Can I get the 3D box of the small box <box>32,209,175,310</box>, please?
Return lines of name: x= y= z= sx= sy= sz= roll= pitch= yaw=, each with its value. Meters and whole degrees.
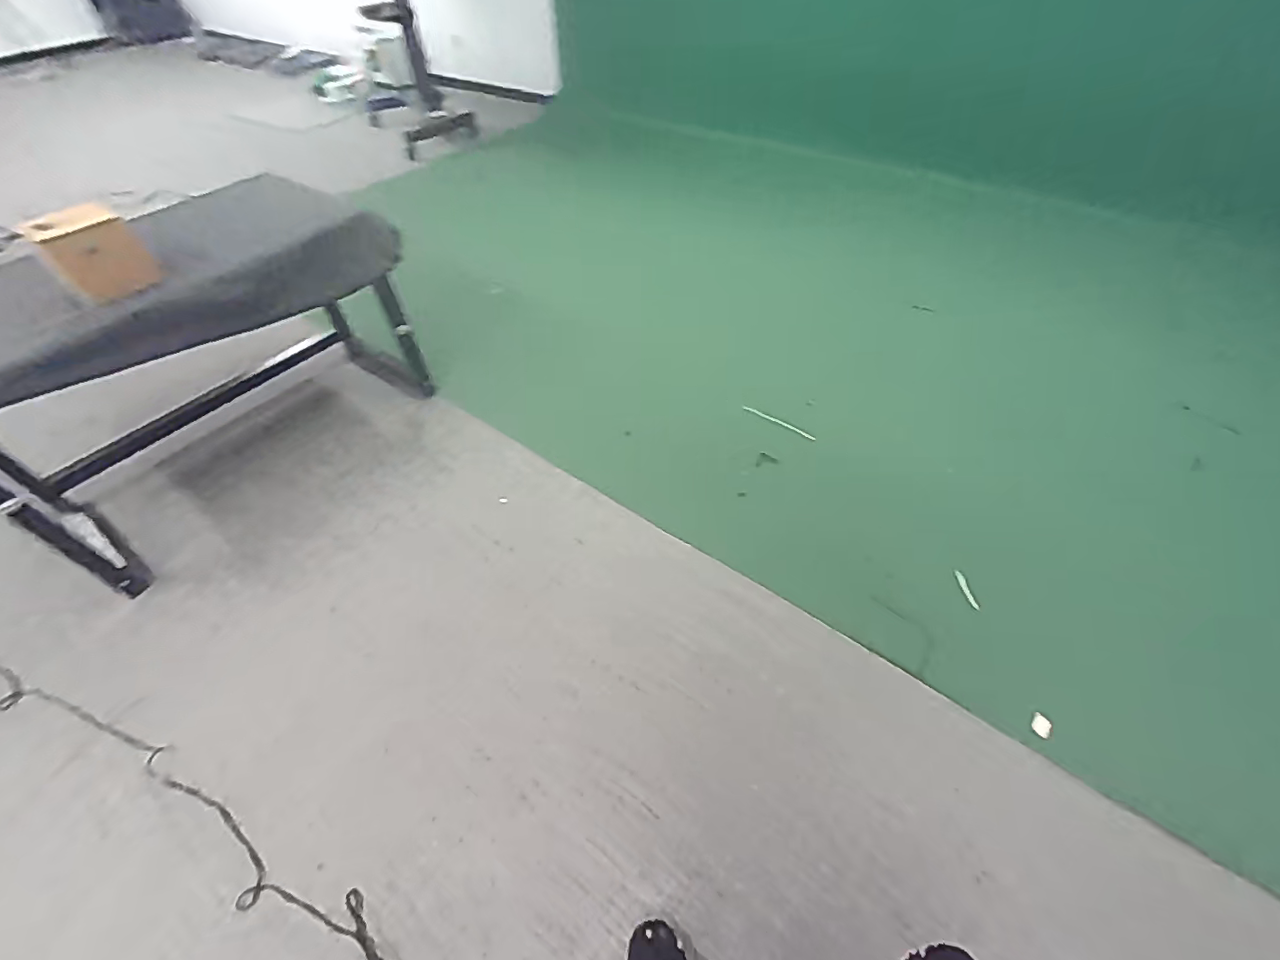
small box: x=-1.357 y=-0.560 z=1.379 sx=0.168 sy=0.176 sz=0.179 roll=28 pitch=55 yaw=25
